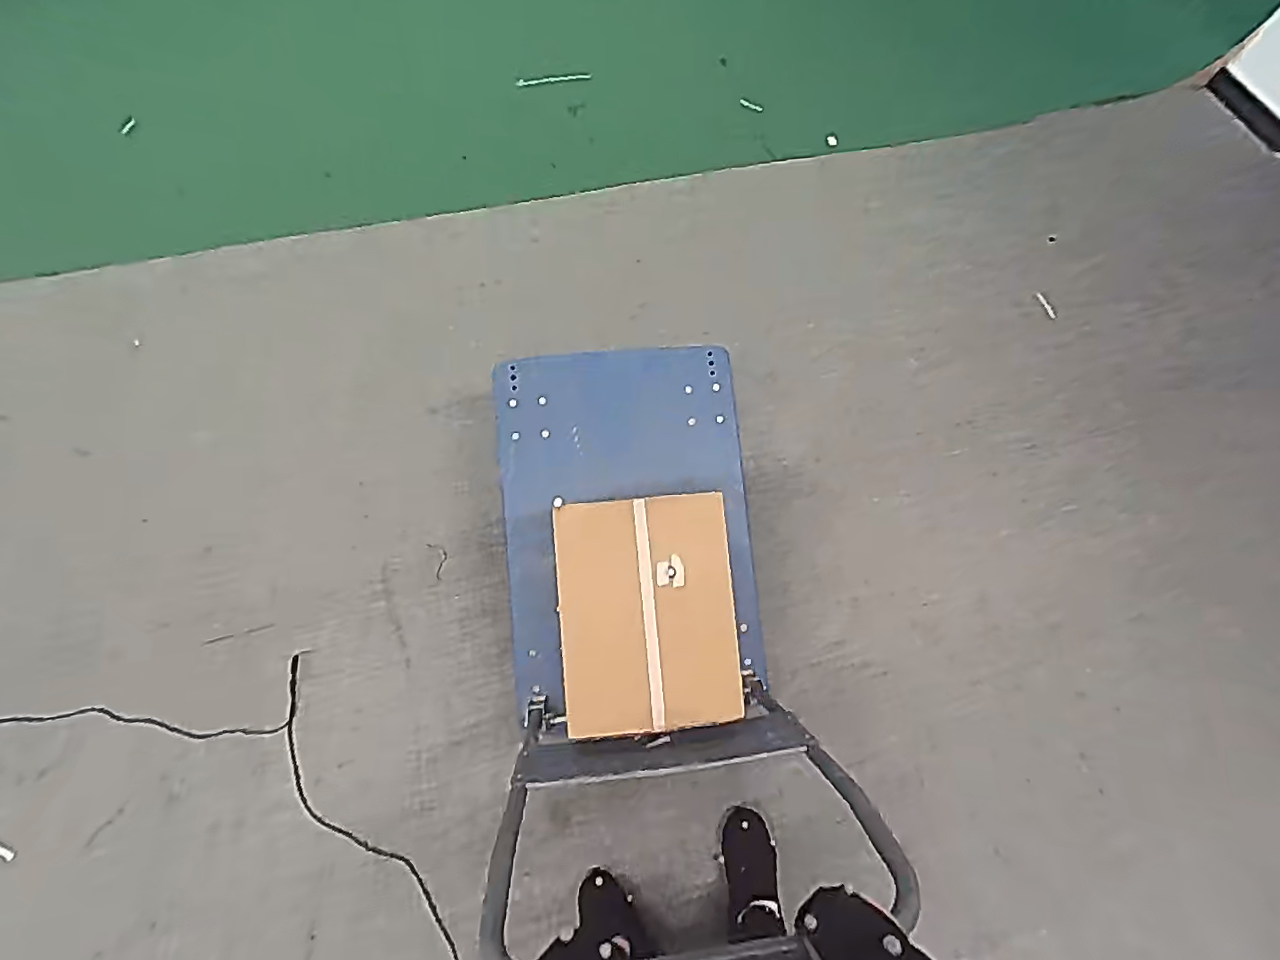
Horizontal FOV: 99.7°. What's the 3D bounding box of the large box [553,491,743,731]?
[{"bbox_3d":[0.004,0.250,1.128,0.320,0.320,0.408,-5,83,-5],"label":"large box"}]
